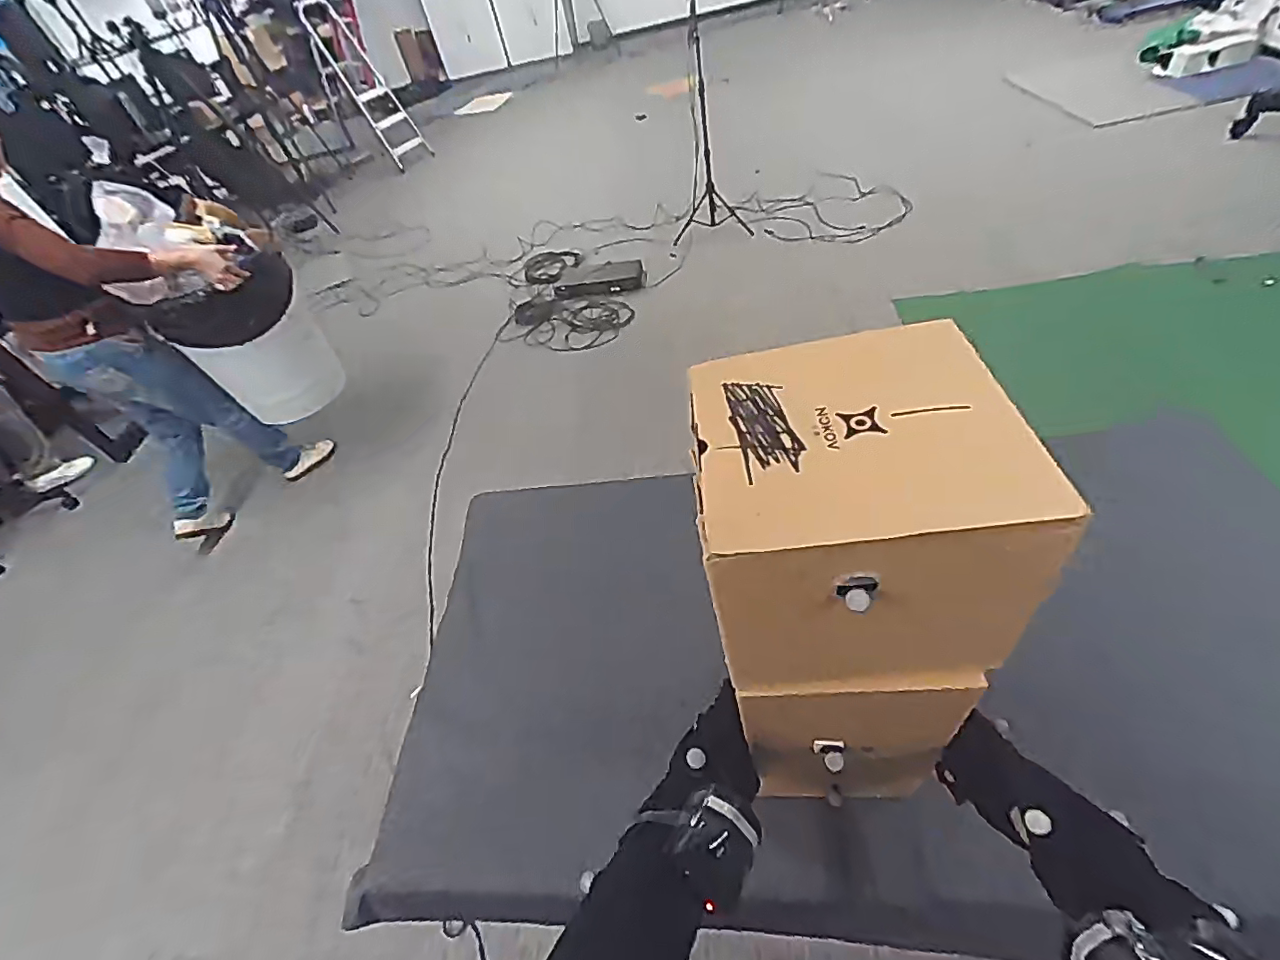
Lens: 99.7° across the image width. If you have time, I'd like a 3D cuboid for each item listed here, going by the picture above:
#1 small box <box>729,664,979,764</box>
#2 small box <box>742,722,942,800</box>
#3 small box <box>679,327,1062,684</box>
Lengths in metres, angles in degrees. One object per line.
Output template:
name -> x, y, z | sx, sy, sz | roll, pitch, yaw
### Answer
small box -> 0.166, 0.135, 0.483 | 0.168, 0.176, 0.179 | -7, 48, 12
small box -> 0.201, 0.243, 0.601 | 0.179, 0.176, 0.168 | -5, 47, 11
small box -> 0.128, 0.026, 0.367 | 0.179, 0.176, 0.168 | -8, 47, 10
